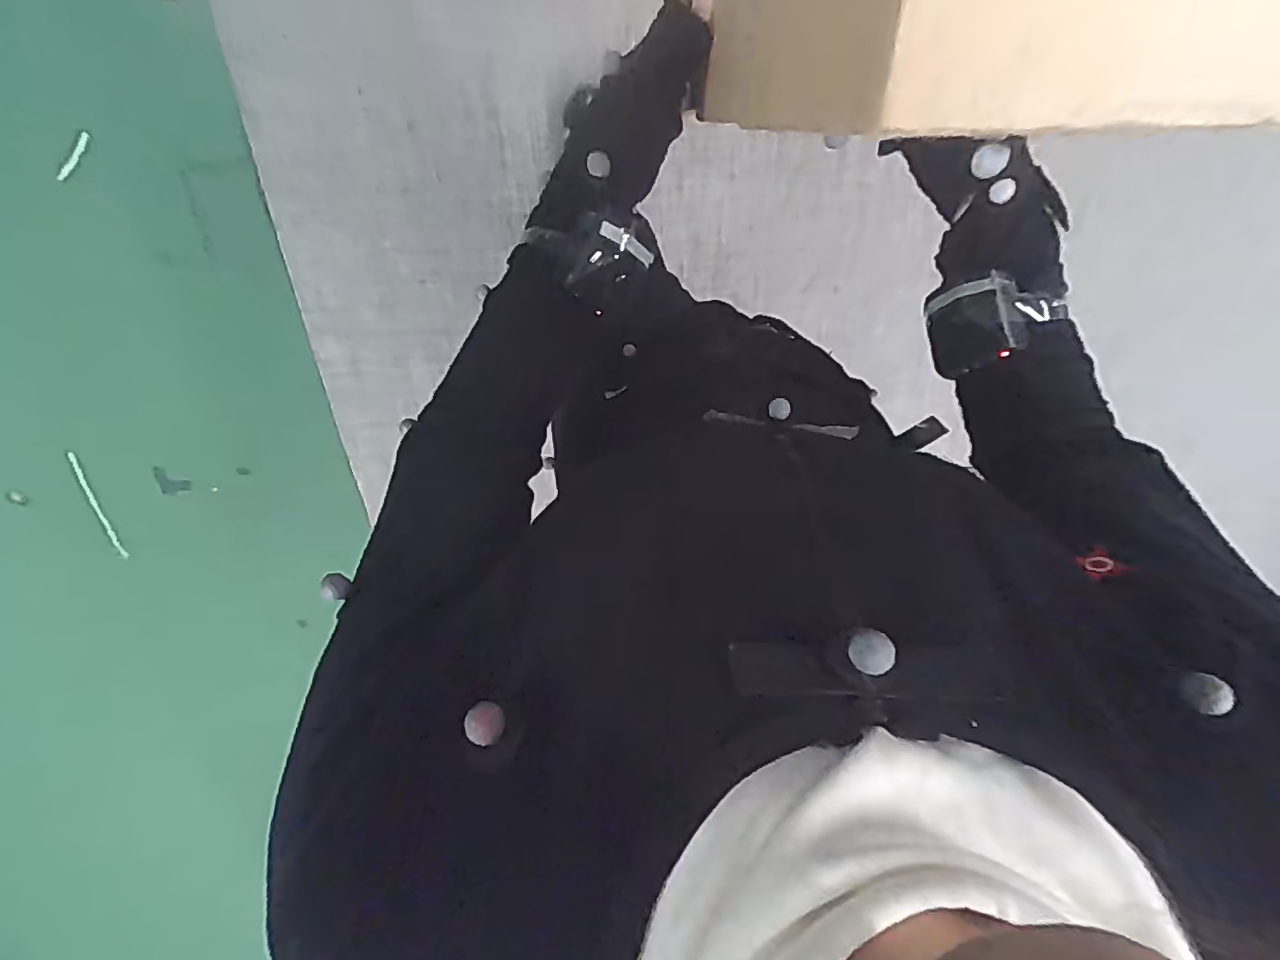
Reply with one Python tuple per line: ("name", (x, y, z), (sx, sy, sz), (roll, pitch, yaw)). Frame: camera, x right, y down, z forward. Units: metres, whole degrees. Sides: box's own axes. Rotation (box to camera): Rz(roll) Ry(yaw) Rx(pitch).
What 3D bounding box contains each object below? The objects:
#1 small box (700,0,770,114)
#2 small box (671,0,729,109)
("small box", (0.129, -0.317, 0.307), (0.168, 0.176, 0.179), (-4, 124, -2))
("small box", (0.119, -0.408, 0.443), (0.179, 0.176, 0.168), (-4, 124, -3))
